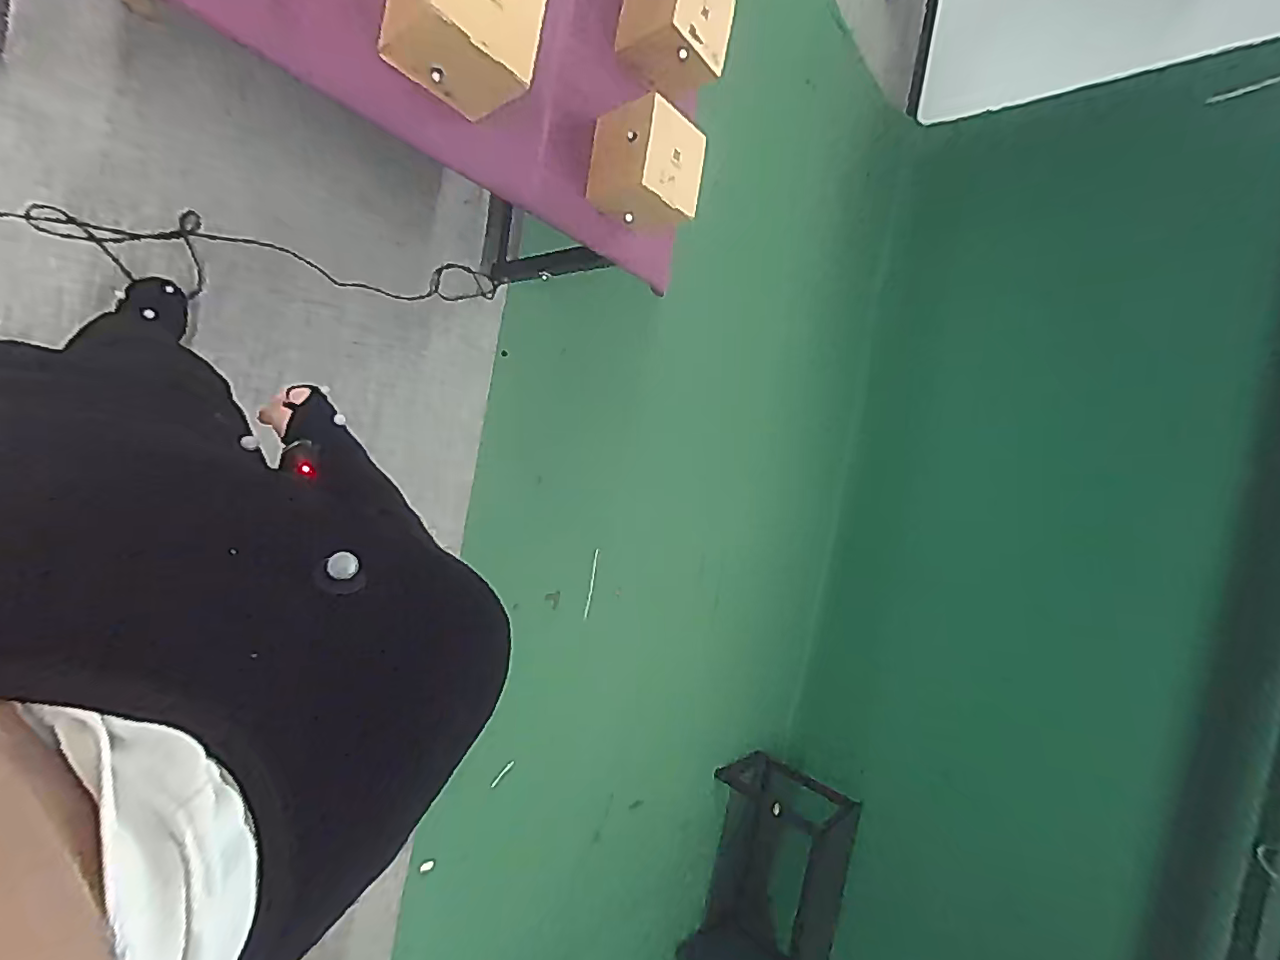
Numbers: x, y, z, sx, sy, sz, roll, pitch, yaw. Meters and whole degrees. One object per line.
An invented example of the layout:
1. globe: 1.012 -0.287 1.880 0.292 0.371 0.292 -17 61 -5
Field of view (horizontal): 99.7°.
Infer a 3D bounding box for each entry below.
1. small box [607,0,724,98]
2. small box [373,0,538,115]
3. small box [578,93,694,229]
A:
1. small box: 0.051 -0.958 1.136 0.168 0.176 0.179 9 93 -49
2. small box: -0.281 -0.706 0.822 0.168 0.176 0.179 9 92 -50
3. small box: -0.011 -0.658 1.140 0.168 0.176 0.179 6 95 -48
